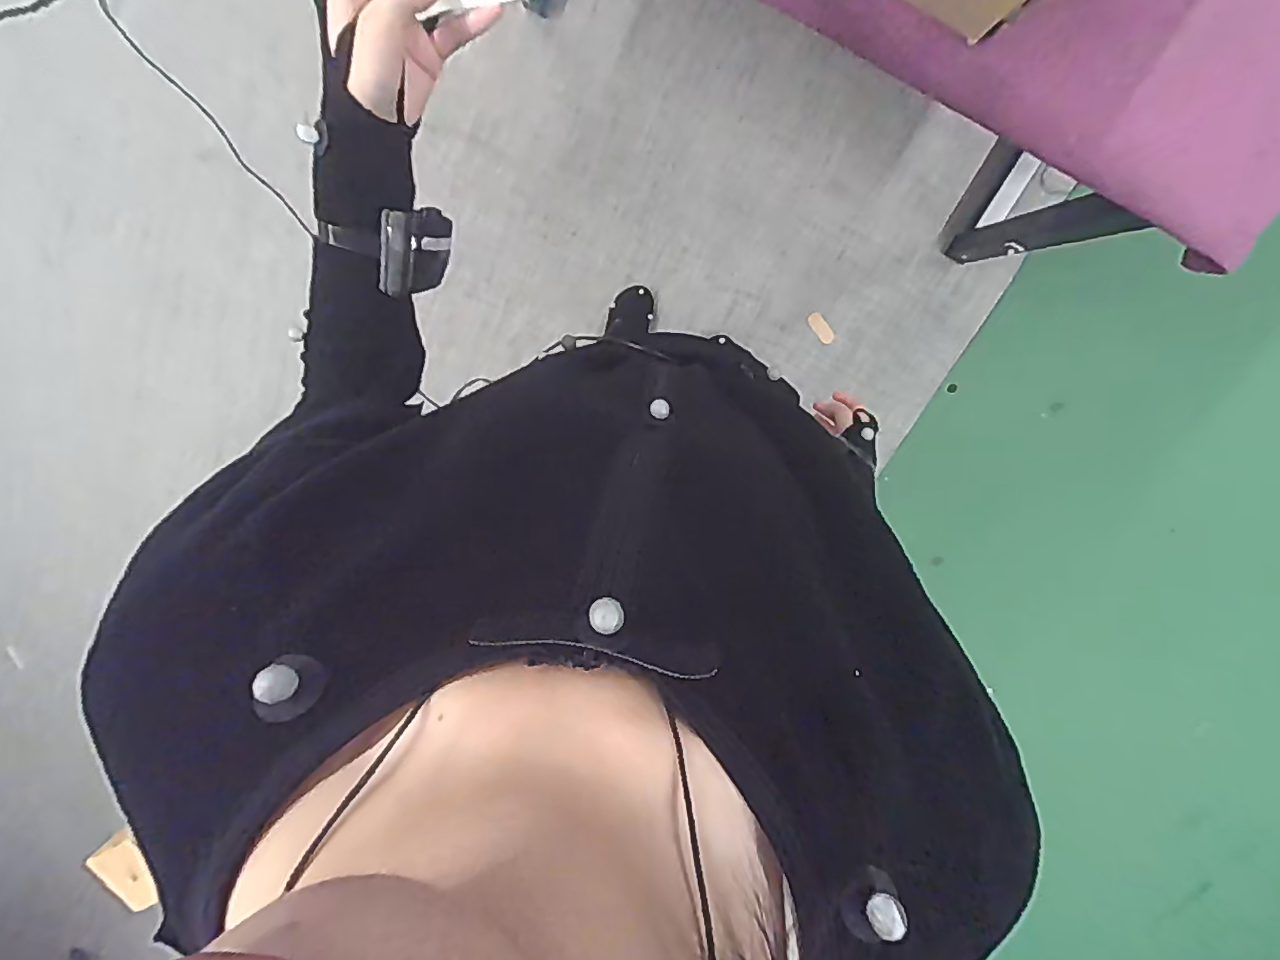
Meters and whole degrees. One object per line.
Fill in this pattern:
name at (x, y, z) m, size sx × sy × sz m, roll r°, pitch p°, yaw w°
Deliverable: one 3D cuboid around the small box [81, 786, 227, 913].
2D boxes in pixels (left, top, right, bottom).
small box at (-1.185, 0.906, 1.336) m, size 0.168 × 0.176 × 0.179 m, roll -30°, pitch 100°, yaw 13°
